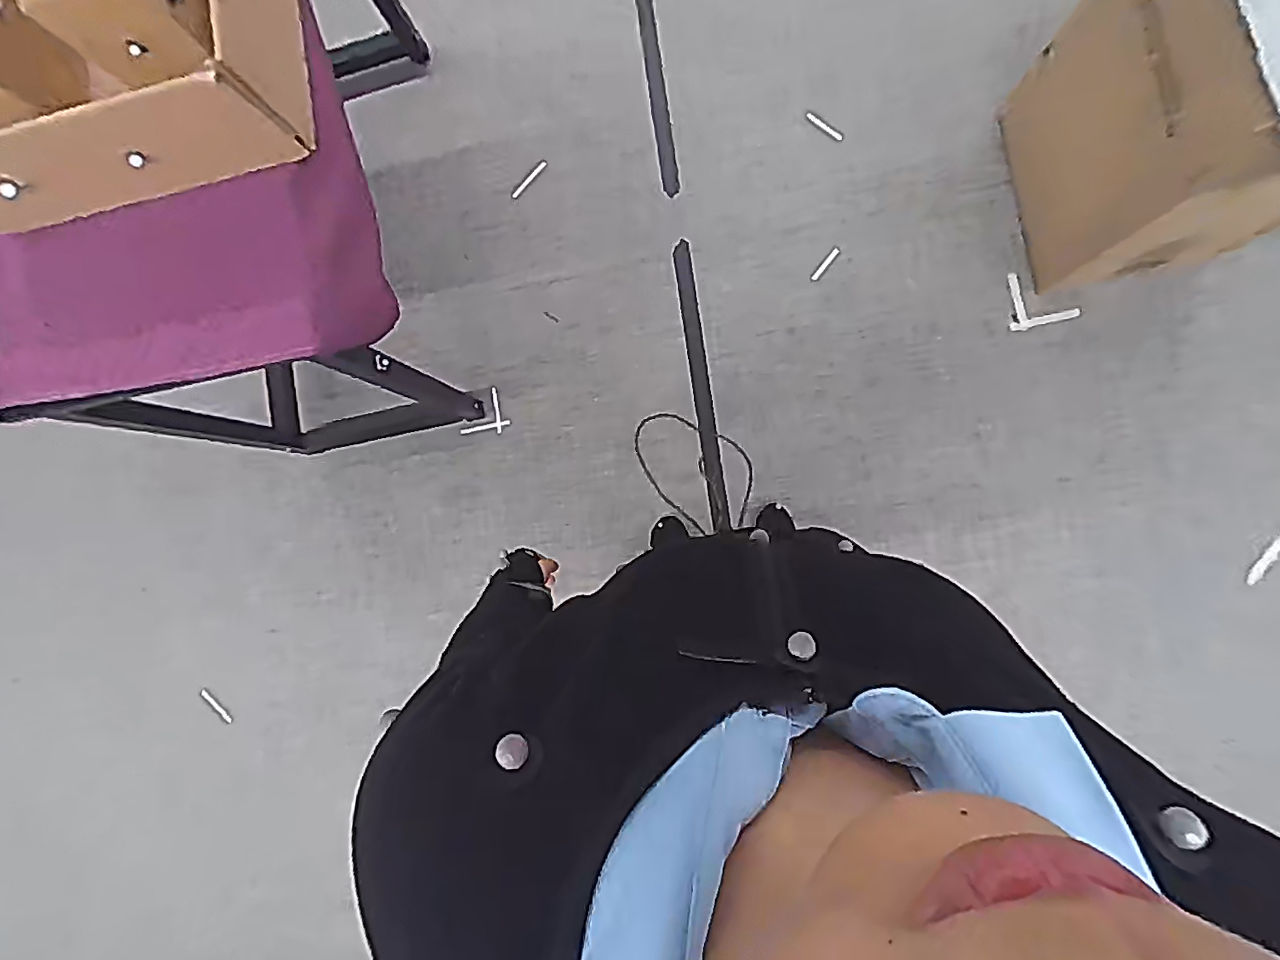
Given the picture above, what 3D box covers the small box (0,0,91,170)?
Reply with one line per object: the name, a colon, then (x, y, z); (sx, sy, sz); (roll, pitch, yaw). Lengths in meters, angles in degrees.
small box: (-0.987, -0.612, 0.808); (0.168, 0.176, 0.179); (-13, 85, 5)
